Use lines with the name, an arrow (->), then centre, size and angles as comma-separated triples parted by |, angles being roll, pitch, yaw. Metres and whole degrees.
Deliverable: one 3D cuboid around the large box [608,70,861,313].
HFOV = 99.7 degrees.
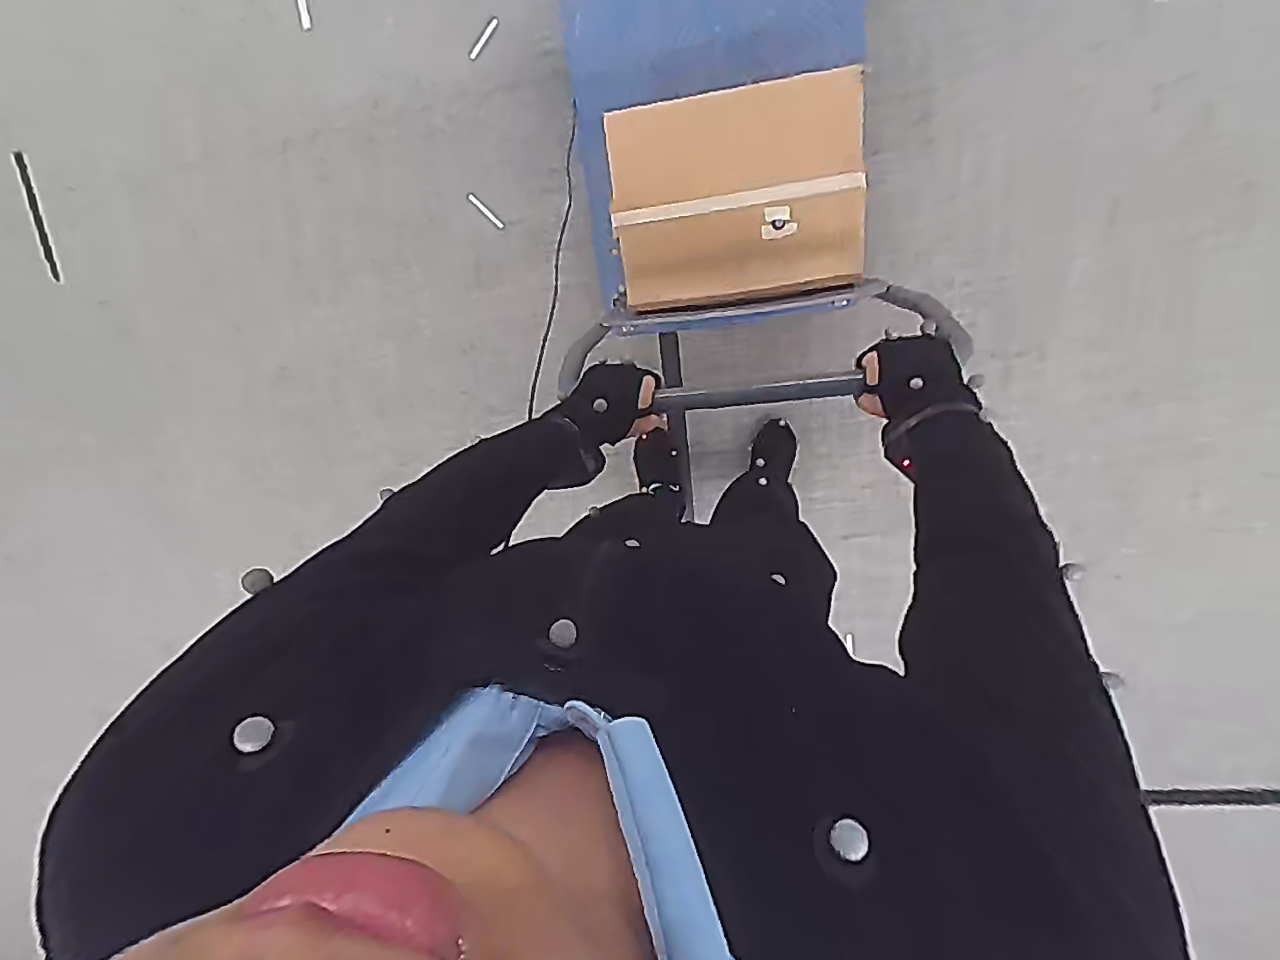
large box -> 0.177, -0.518, 1.047 | 0.408, 0.320, 0.320 | -5, 110, 8
